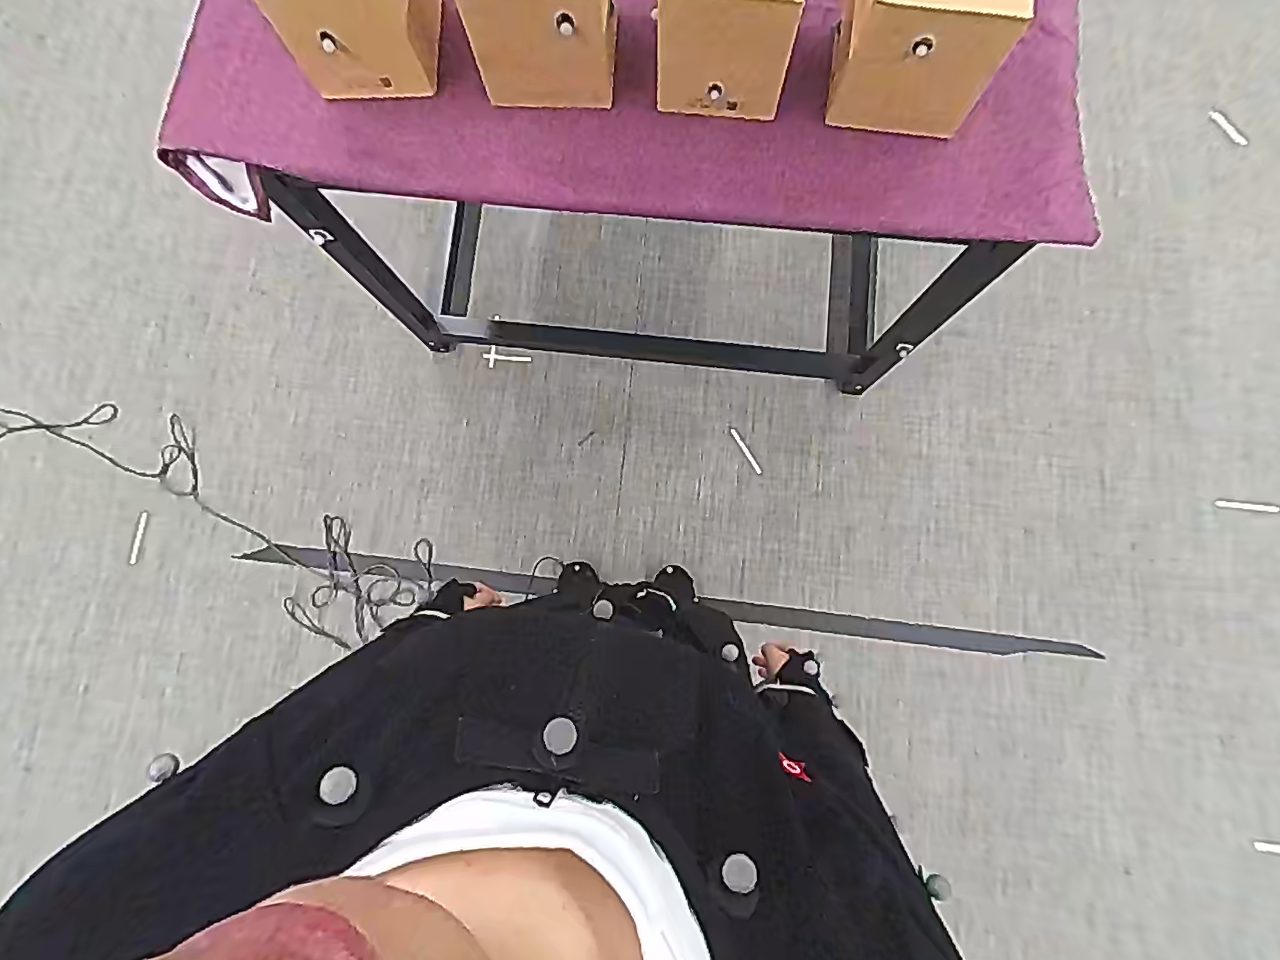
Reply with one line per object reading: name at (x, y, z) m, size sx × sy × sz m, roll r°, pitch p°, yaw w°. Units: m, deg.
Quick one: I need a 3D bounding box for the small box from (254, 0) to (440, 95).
small box at (-0.380, -0.650, 0.719) m, size 0.168 × 0.176 × 0.179 m, roll -1°, pitch 80°, yaw 1°

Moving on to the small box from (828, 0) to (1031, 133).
small box at (0.353, -0.578, 0.684) m, size 0.179 × 0.176 × 0.168 m, roll 9°, pitch 80°, yaw 2°
